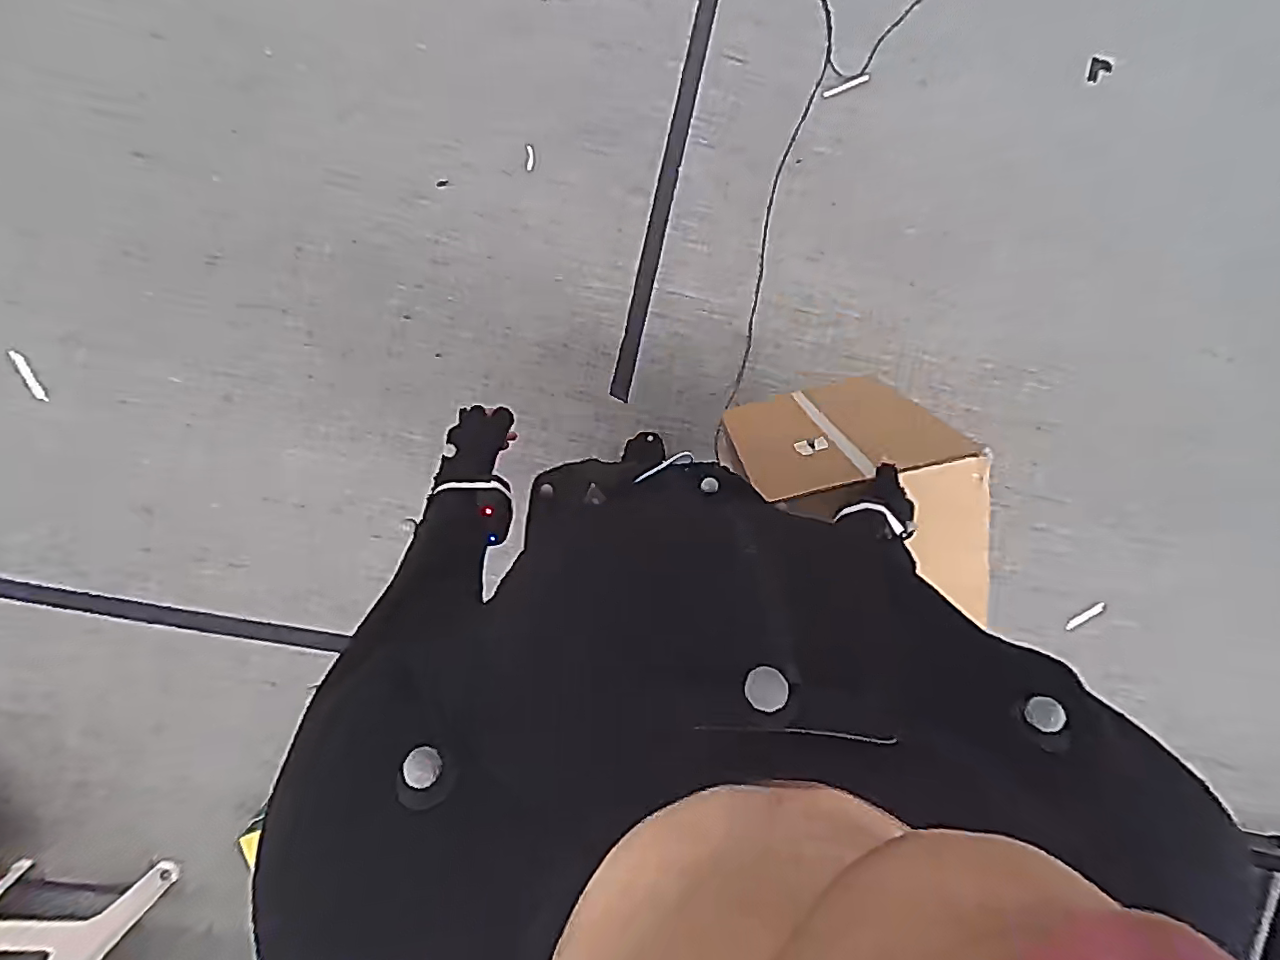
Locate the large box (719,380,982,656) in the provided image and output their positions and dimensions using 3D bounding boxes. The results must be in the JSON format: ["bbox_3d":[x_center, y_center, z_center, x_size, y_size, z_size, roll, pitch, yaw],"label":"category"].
[{"bbox_3d":[0.350,0.046,0.995,0.320,0.408,0.320,-13,116,5],"label":"large box"}]
